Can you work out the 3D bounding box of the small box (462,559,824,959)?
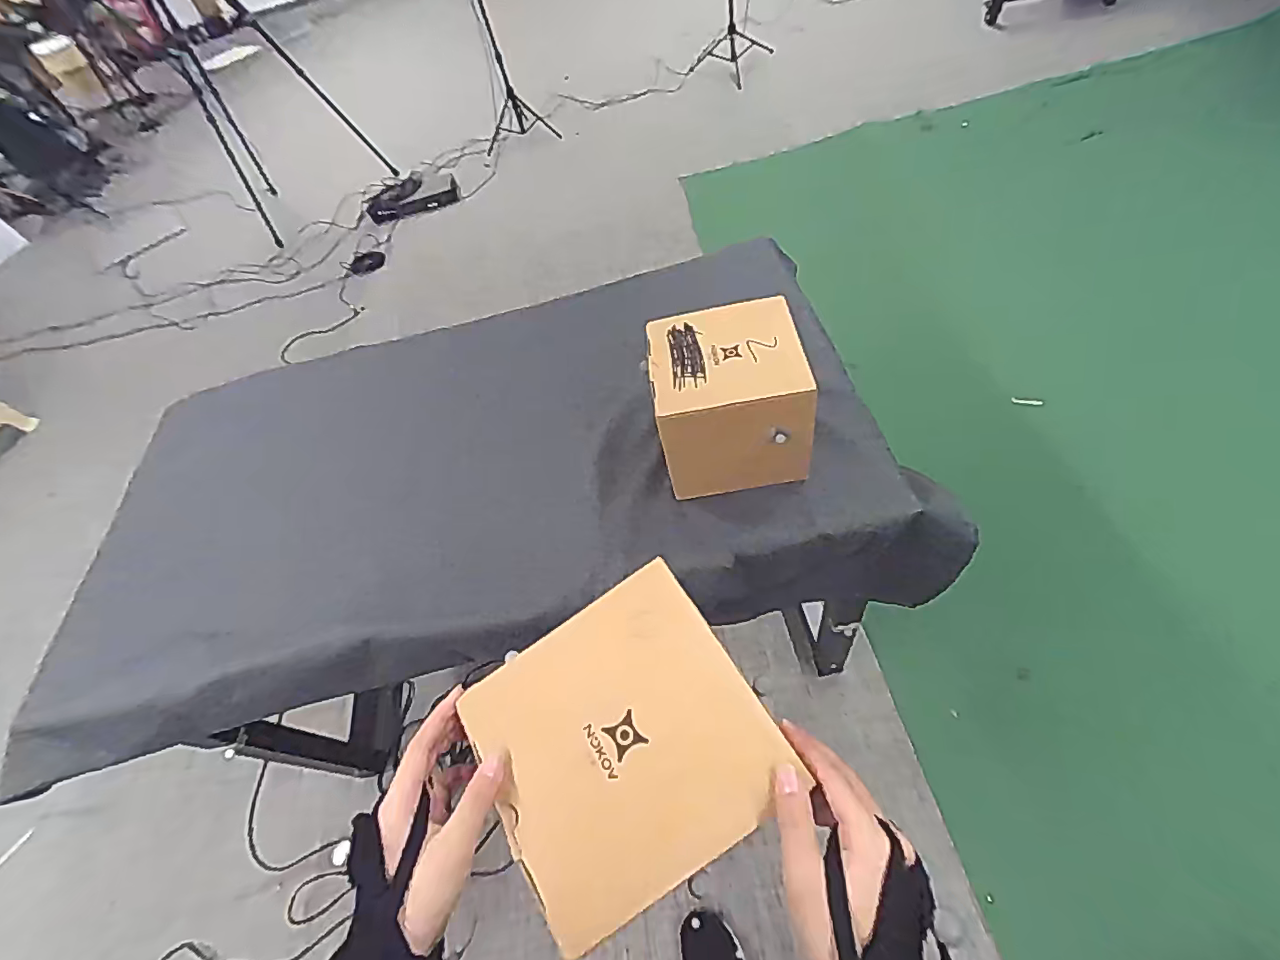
[{"bbox_3d":[0.008,0.188,0.407,0.179,0.176,0.168,-35,65,-2],"label":"small box"}]
